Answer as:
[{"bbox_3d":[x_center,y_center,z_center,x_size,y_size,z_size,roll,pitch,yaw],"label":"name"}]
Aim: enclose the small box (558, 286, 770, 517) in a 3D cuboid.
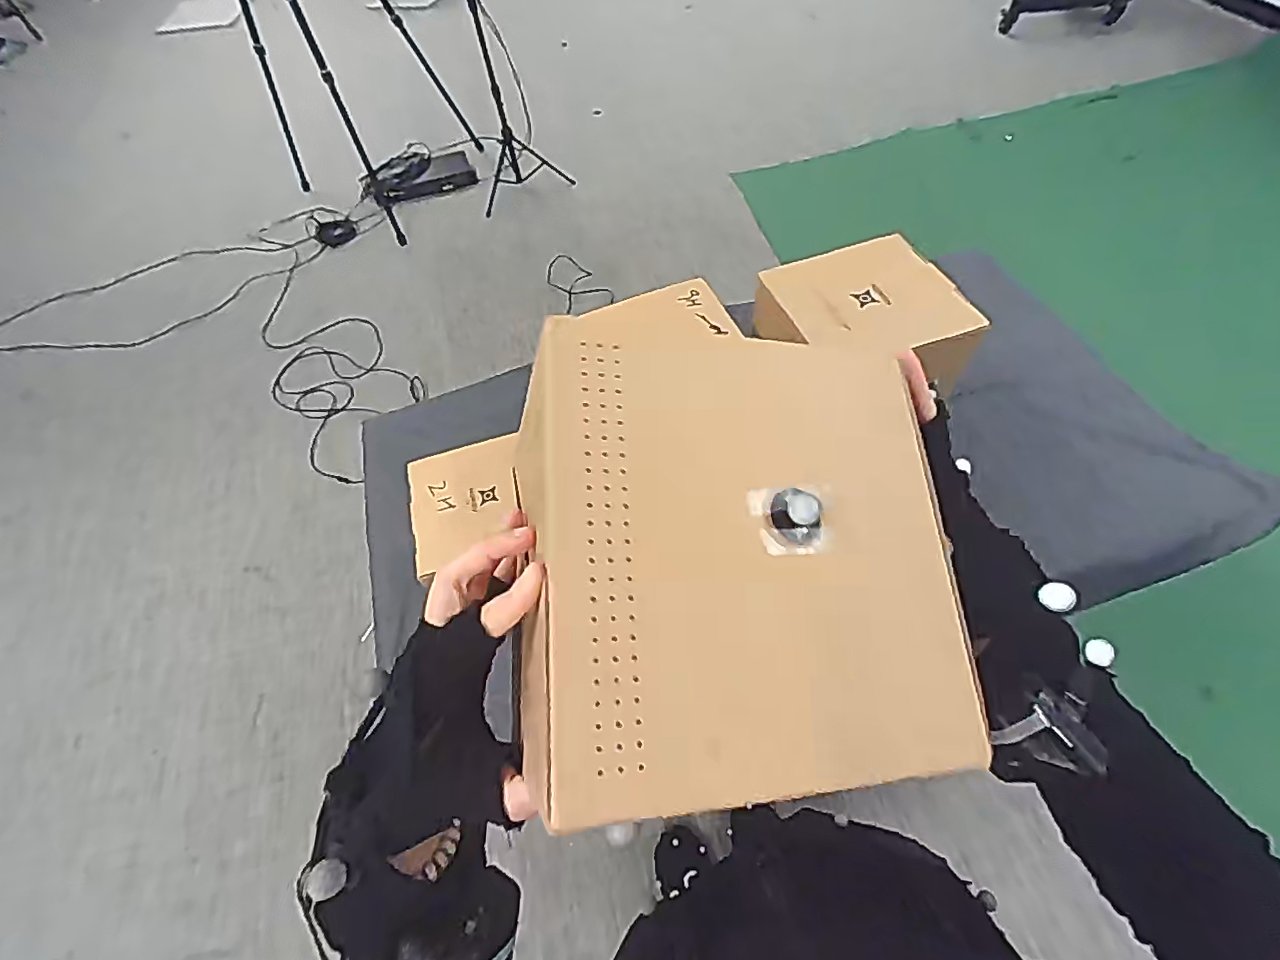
[{"bbox_3d":[0.027,-0.082,0.618,0.179,0.176,0.168,-21,60,-7],"label":"small box"}]
